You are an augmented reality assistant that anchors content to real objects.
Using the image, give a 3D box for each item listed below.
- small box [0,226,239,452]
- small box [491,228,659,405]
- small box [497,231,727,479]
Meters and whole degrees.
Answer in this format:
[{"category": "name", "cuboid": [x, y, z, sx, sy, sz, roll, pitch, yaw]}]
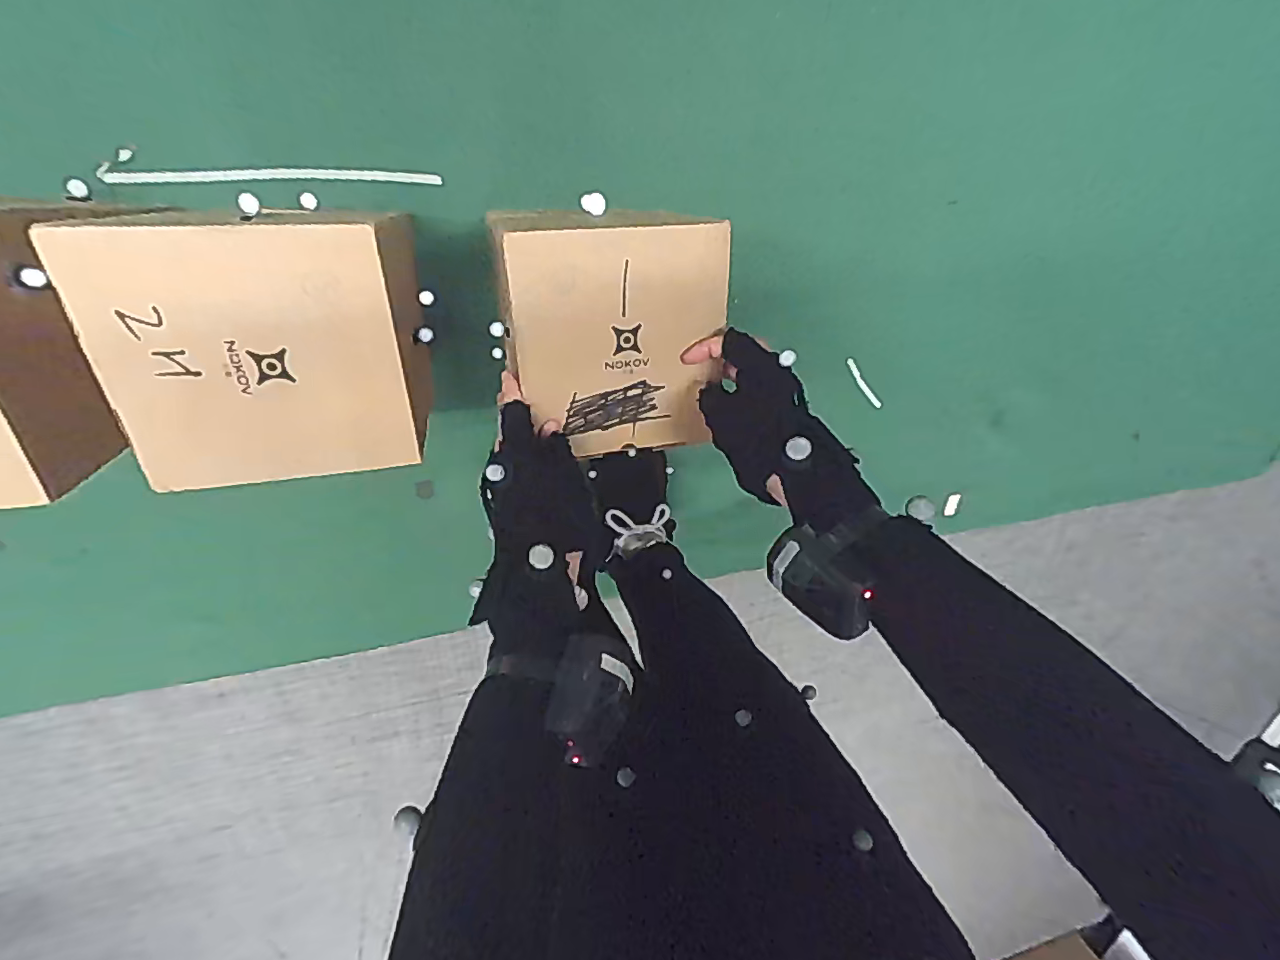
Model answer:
[{"category": "small box", "cuboid": [-0.526, -0.141, 0.522, 0.168, 0.176, 0.179, -4, 117, -15]}, {"category": "small box", "cuboid": [-0.078, -0.197, 0.631, 0.168, 0.176, 0.179, -9, 119, -13]}, {"category": "small box", "cuboid": [-0.033, -0.123, 0.491, 0.168, 0.176, 0.179, -9, 118, -13]}]
